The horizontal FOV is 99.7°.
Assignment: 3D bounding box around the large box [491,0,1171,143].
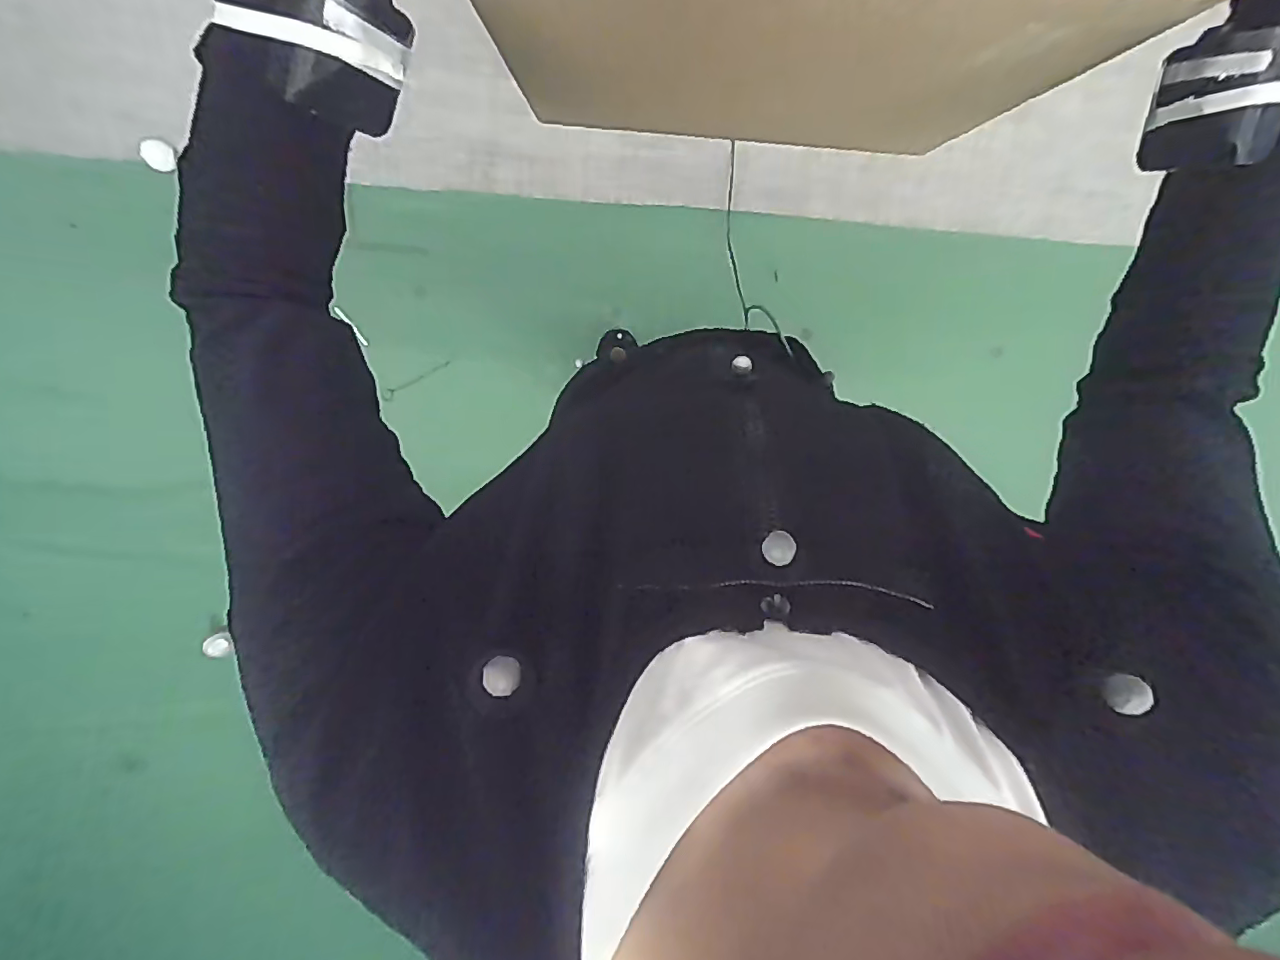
[{"bbox_3d":[0.106,-0.455,0.372,0.408,0.320,0.320,3,109,-2],"label":"large box"}]
